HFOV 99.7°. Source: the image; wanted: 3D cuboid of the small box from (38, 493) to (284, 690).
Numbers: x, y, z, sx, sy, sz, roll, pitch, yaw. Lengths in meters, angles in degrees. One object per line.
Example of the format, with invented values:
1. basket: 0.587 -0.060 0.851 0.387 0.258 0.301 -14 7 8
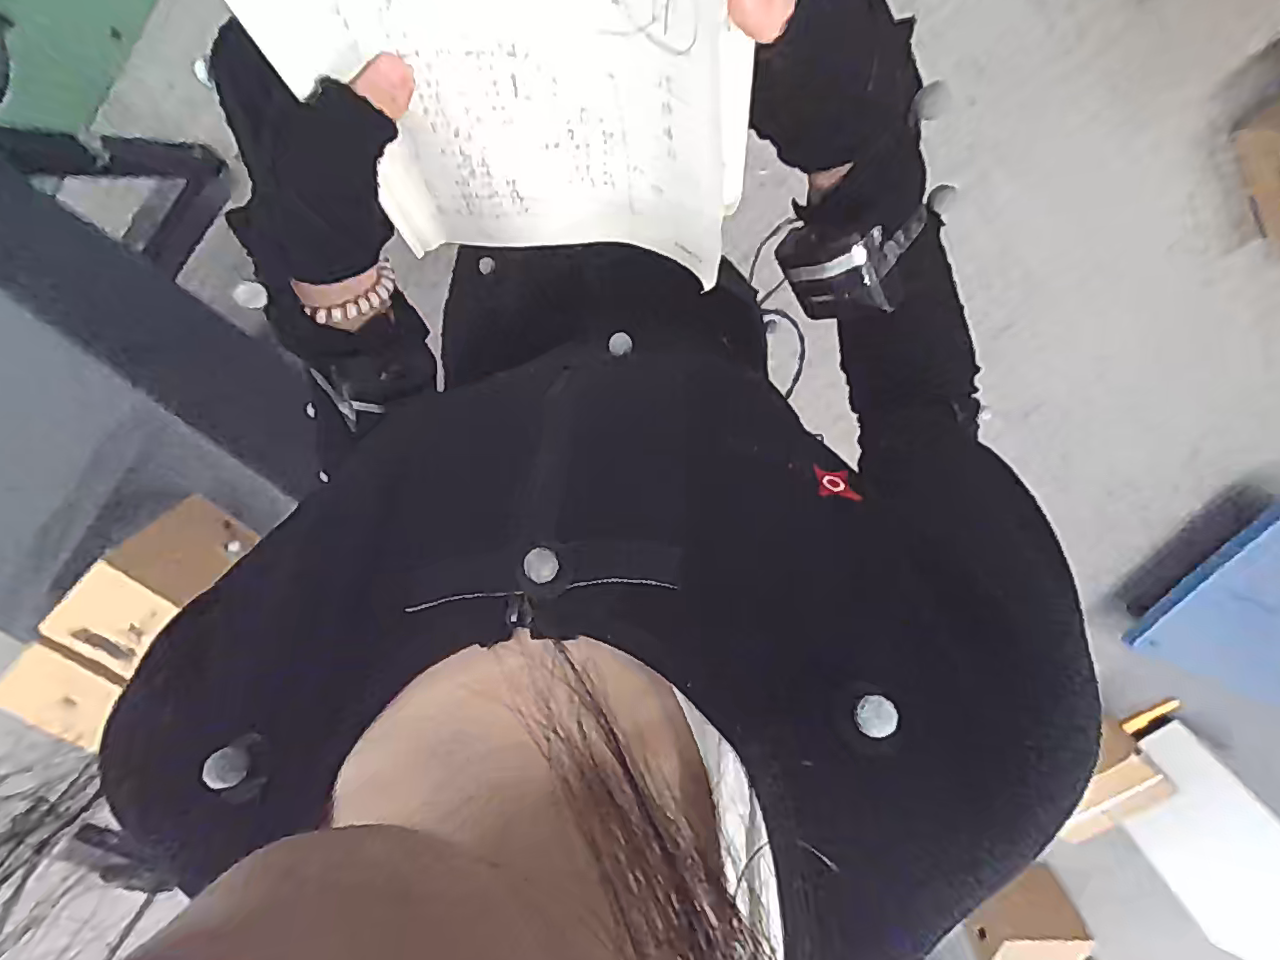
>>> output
1. small box: -0.658 0.153 0.767 0.179 0.176 0.168 -36 113 18

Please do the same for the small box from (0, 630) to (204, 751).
1. small box: -0.810 0.272 0.835 0.179 0.176 0.168 -36 114 17
